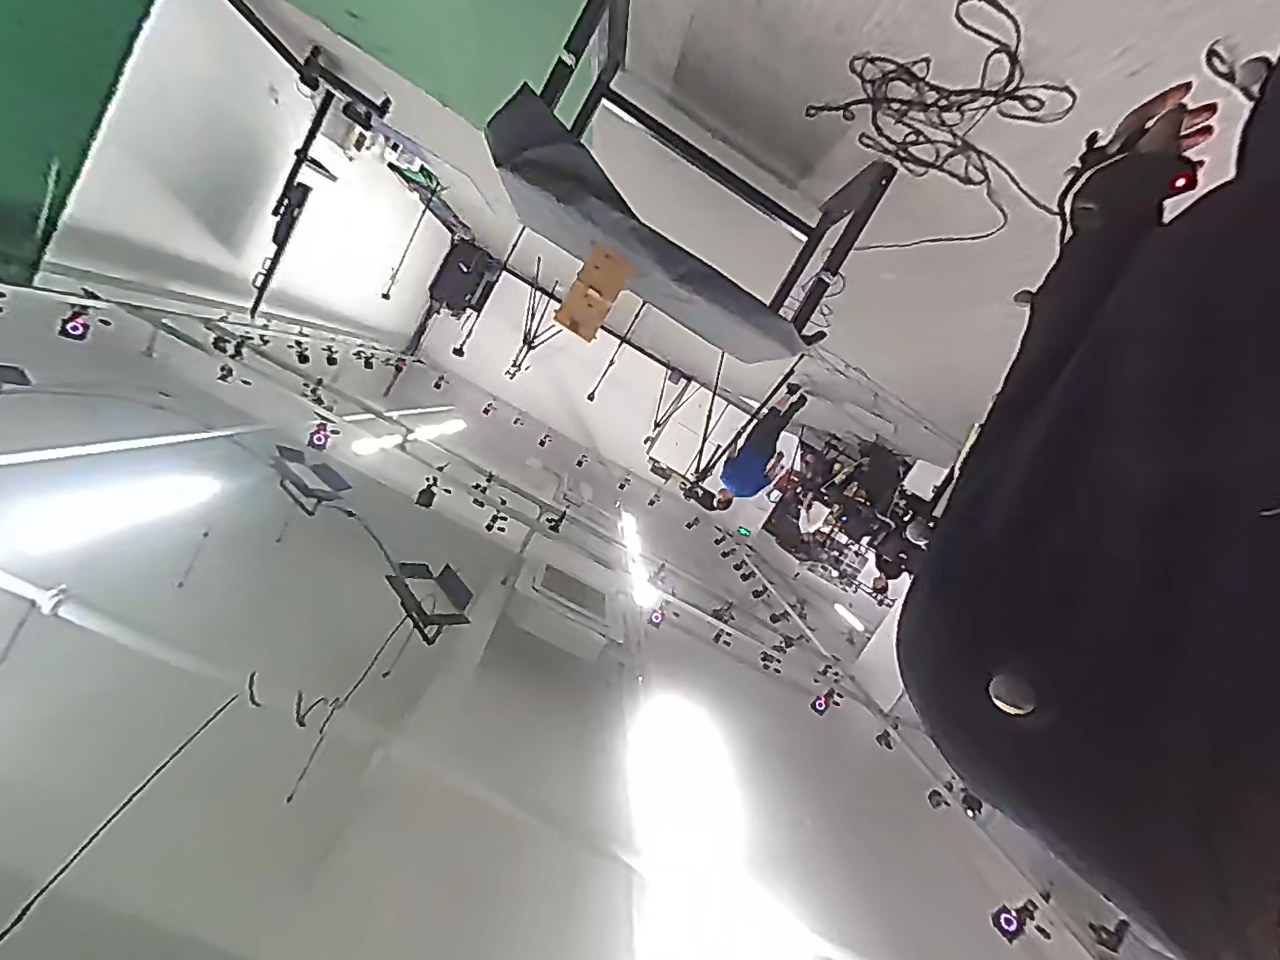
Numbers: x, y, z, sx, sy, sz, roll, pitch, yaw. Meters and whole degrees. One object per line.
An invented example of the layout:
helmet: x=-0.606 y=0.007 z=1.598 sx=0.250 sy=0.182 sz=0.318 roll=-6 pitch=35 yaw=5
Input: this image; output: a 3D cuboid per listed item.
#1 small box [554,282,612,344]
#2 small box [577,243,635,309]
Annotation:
small box: x=-0.222 y=-0.651 z=2.116 sx=0.168 sy=0.176 sz=0.179 roll=31 pitch=-175 yaw=-12
small box: x=-0.133 y=-0.785 z=2.084 sx=0.168 sy=0.176 sz=0.179 roll=31 pitch=-173 yaw=-11
